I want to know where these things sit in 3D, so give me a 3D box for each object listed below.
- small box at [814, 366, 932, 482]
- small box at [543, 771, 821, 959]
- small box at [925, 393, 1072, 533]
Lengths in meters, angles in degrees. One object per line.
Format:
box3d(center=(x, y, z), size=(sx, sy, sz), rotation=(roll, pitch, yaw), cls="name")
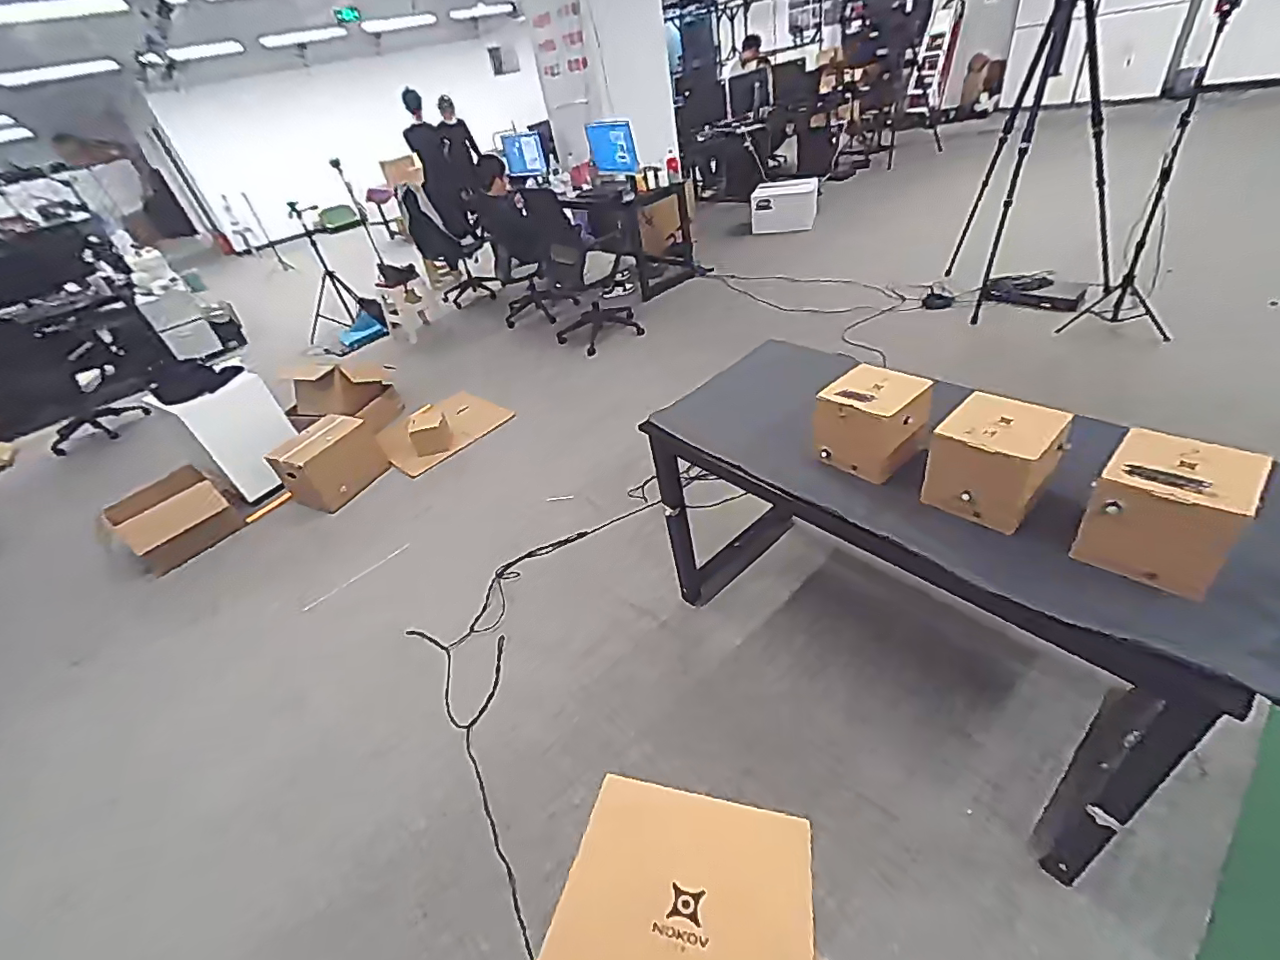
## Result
box3d(center=(0.499, -0.121, 1.172), size=(0.179, 0.176, 0.168), rotation=(-32, 41, -26), cls="small box")
box3d(center=(0.031, 0.355, 0.383), size=(0.168, 0.176, 0.179), rotation=(6, 22, 13), cls="small box")
box3d(center=(0.657, -0.034, 1.010), size=(0.179, 0.176, 0.168), rotation=(-34, 41, -27), cls="small box")
